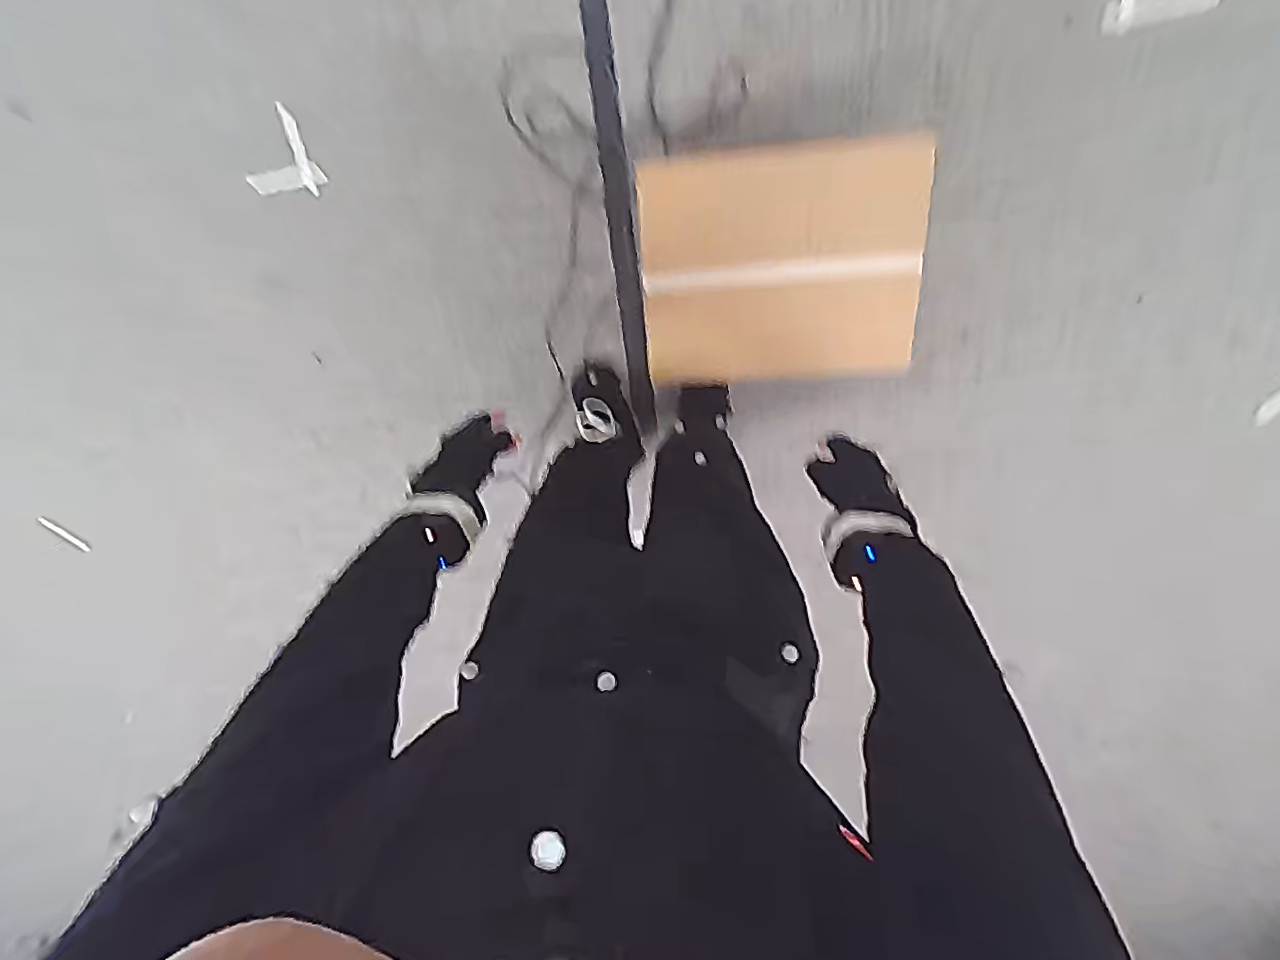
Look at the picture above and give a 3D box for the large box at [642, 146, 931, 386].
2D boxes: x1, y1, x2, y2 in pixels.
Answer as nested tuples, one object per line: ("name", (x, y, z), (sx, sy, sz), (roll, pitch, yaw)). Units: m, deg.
("large box", (0.223, -0.362, 0.949), (0.408, 0.320, 0.320), (-2, 114, 6))
